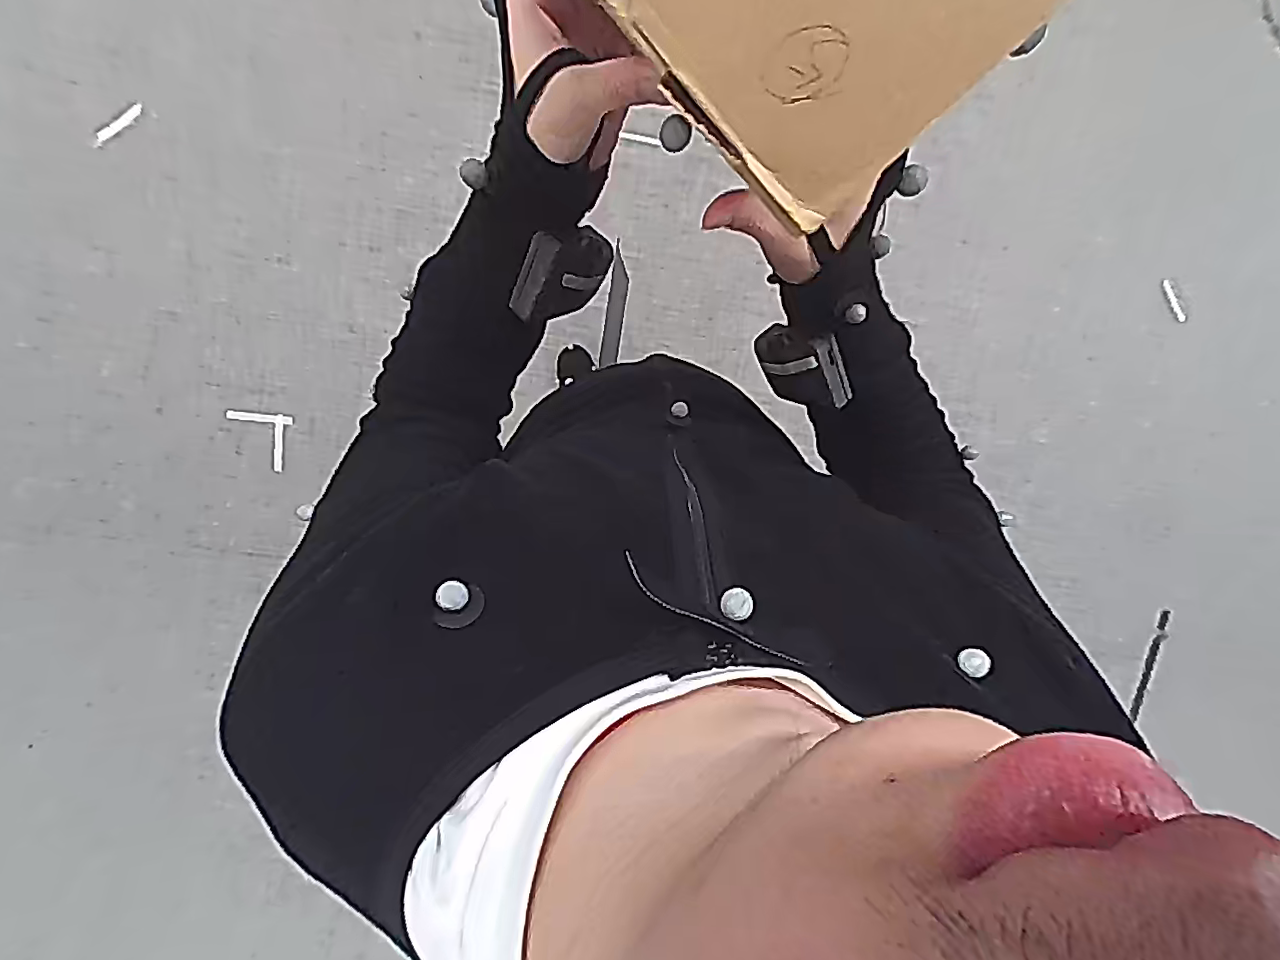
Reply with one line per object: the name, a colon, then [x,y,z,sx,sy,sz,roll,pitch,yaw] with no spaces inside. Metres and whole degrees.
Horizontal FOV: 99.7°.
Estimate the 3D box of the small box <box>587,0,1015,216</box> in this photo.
small box: [0.051,-0.224,0.172,0.168,0.176,0.179,39,119,-22]
